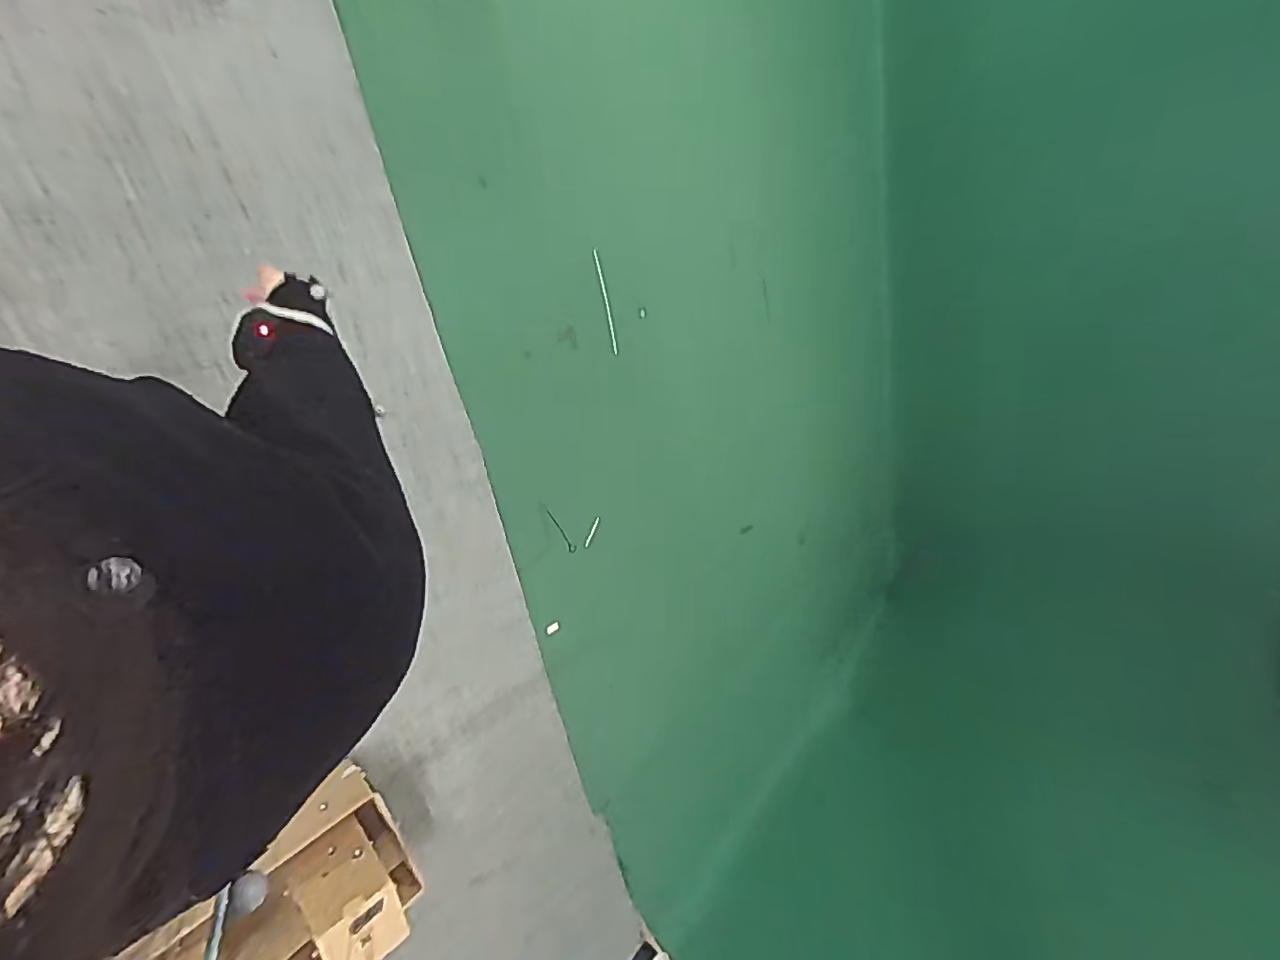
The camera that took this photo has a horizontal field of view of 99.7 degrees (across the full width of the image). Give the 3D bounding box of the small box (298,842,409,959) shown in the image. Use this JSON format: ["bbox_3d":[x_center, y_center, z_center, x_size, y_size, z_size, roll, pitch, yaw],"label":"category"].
[{"bbox_3d":[-0.677,1.001,1.274,0.168,0.176,0.179,-22,114,-40],"label":"small box"}]
